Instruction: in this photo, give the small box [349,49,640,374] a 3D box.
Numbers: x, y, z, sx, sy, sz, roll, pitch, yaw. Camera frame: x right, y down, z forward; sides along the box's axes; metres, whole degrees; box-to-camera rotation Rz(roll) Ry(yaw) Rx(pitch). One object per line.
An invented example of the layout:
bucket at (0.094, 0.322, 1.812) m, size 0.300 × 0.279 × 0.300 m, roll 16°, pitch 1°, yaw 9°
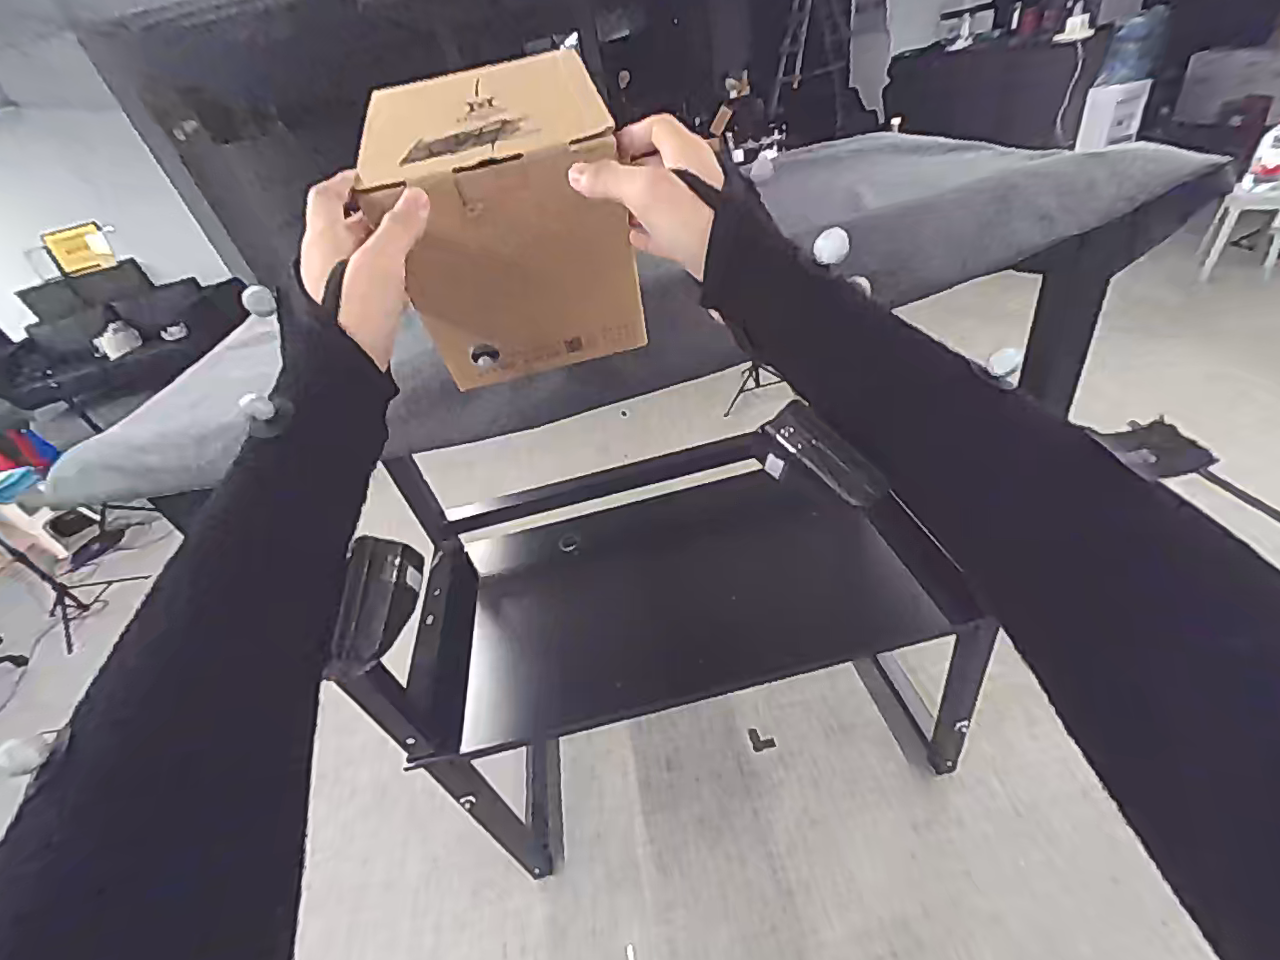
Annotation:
small box at (-0.102, -0.205, 0.437) m, size 0.168 × 0.176 × 0.179 m, roll -14°, pitch 53°, yaw -2°
